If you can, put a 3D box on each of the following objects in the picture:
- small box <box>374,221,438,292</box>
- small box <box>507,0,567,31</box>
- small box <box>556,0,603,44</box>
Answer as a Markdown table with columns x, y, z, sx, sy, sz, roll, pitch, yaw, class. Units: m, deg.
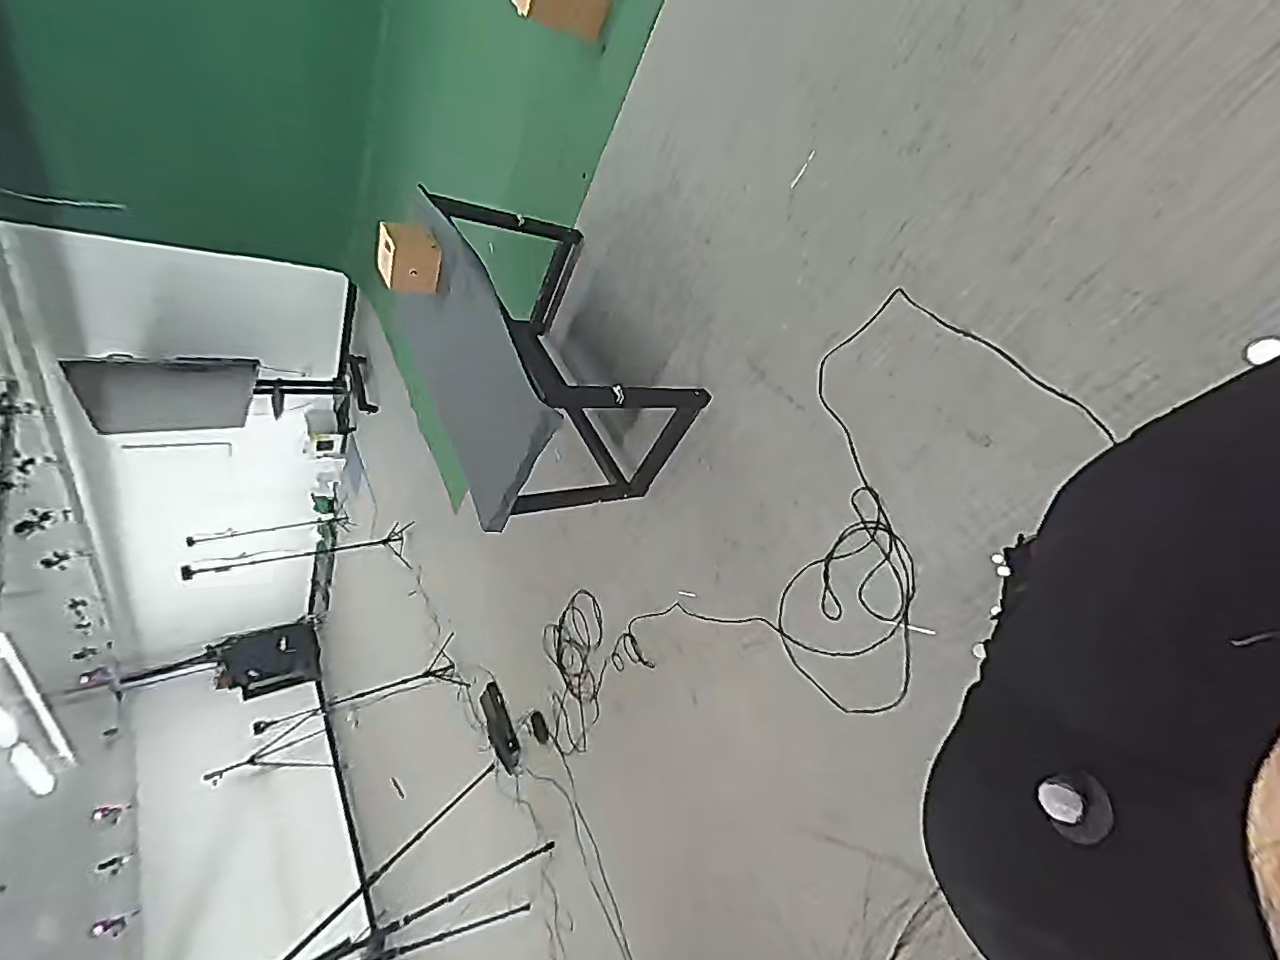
| x | y | z | sx | sy | sz | roll | pitch | yaw | class |
| --- | --- | --- | --- | --- | --- | --- | --- | --- | --- |
| -0.854 | -0.811 | 1.976 | 0.168 | 0.176 | 0.179 | 56 | 136 | 26 | small box |
| -0.405 | -1.953 | 2.161 | 0.168 | 0.176 | 0.179 | 58 | 133 | 25 | small box |
| -0.277 | -1.978 | 2.260 | 0.168 | 0.176 | 0.179 | 56 | 133 | 26 | small box |
